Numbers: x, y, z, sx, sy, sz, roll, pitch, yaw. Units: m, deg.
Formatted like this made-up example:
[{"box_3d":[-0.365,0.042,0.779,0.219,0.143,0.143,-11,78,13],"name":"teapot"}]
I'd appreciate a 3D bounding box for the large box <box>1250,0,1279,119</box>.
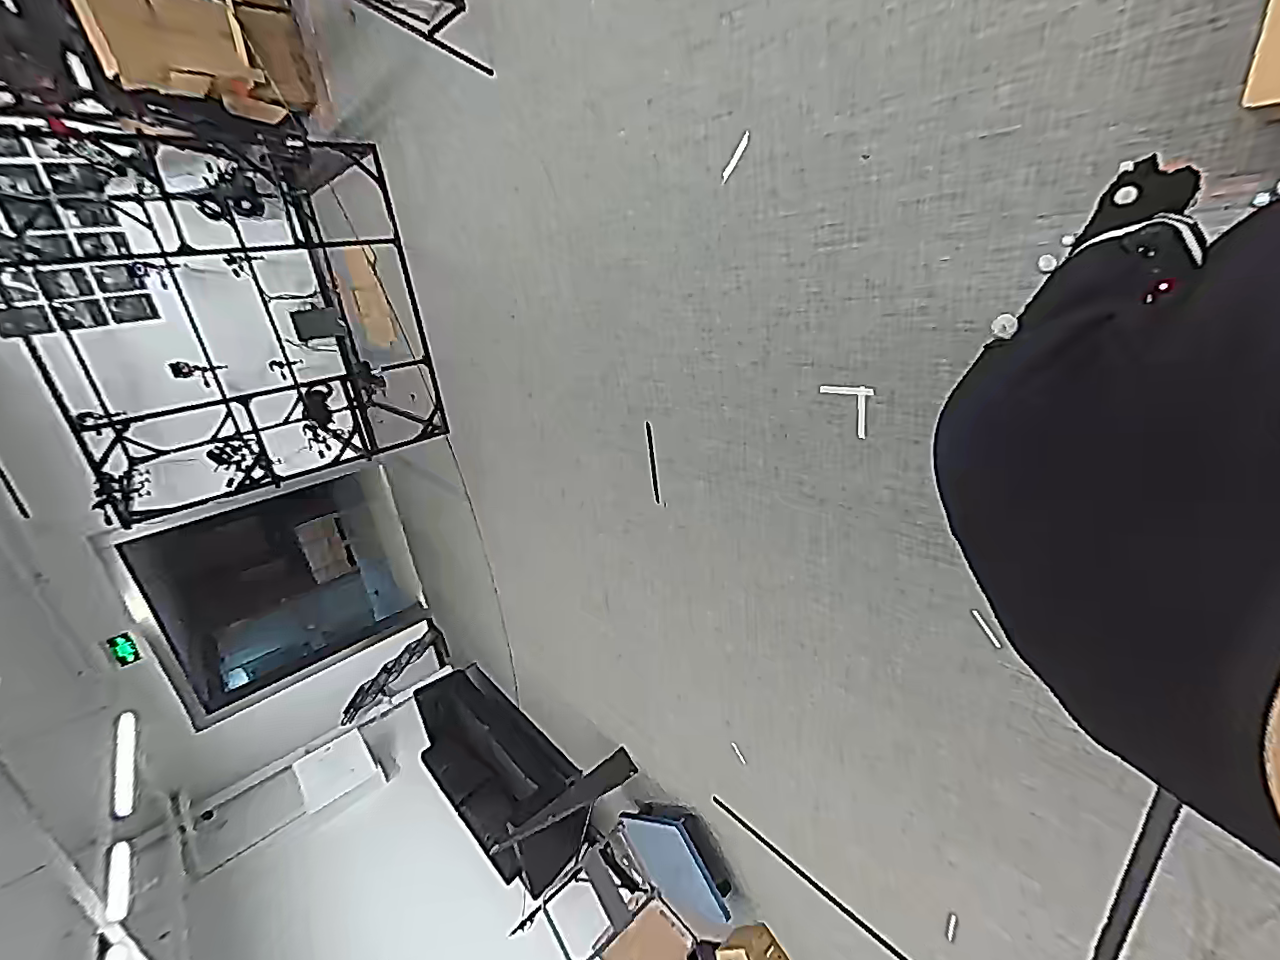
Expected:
[{"box_3d":[1.045,-0.655,0.623,0.408,0.320,0.320,18,124,45],"name":"large box"}]
